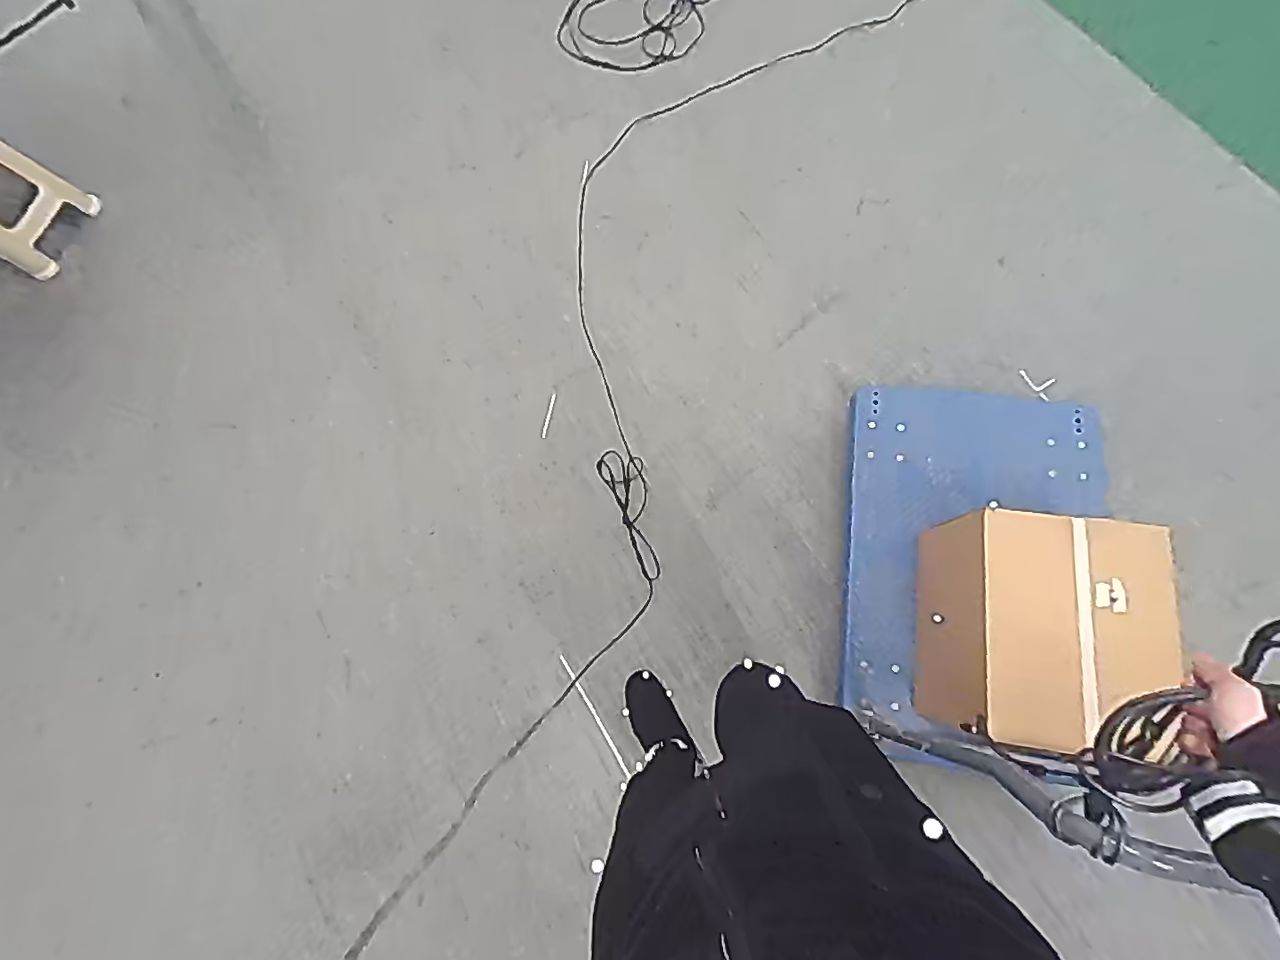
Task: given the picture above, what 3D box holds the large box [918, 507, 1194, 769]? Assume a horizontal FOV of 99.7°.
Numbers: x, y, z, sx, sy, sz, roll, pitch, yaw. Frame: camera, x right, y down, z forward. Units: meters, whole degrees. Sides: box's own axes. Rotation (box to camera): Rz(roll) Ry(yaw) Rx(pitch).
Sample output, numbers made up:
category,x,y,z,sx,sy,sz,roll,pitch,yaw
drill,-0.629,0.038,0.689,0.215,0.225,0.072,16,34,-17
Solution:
category,x,y,z,sx,sy,sz,roll,pitch,yaw
large box,0.767,0.296,1.066,0.320,0.320,0.408,7,75,6
